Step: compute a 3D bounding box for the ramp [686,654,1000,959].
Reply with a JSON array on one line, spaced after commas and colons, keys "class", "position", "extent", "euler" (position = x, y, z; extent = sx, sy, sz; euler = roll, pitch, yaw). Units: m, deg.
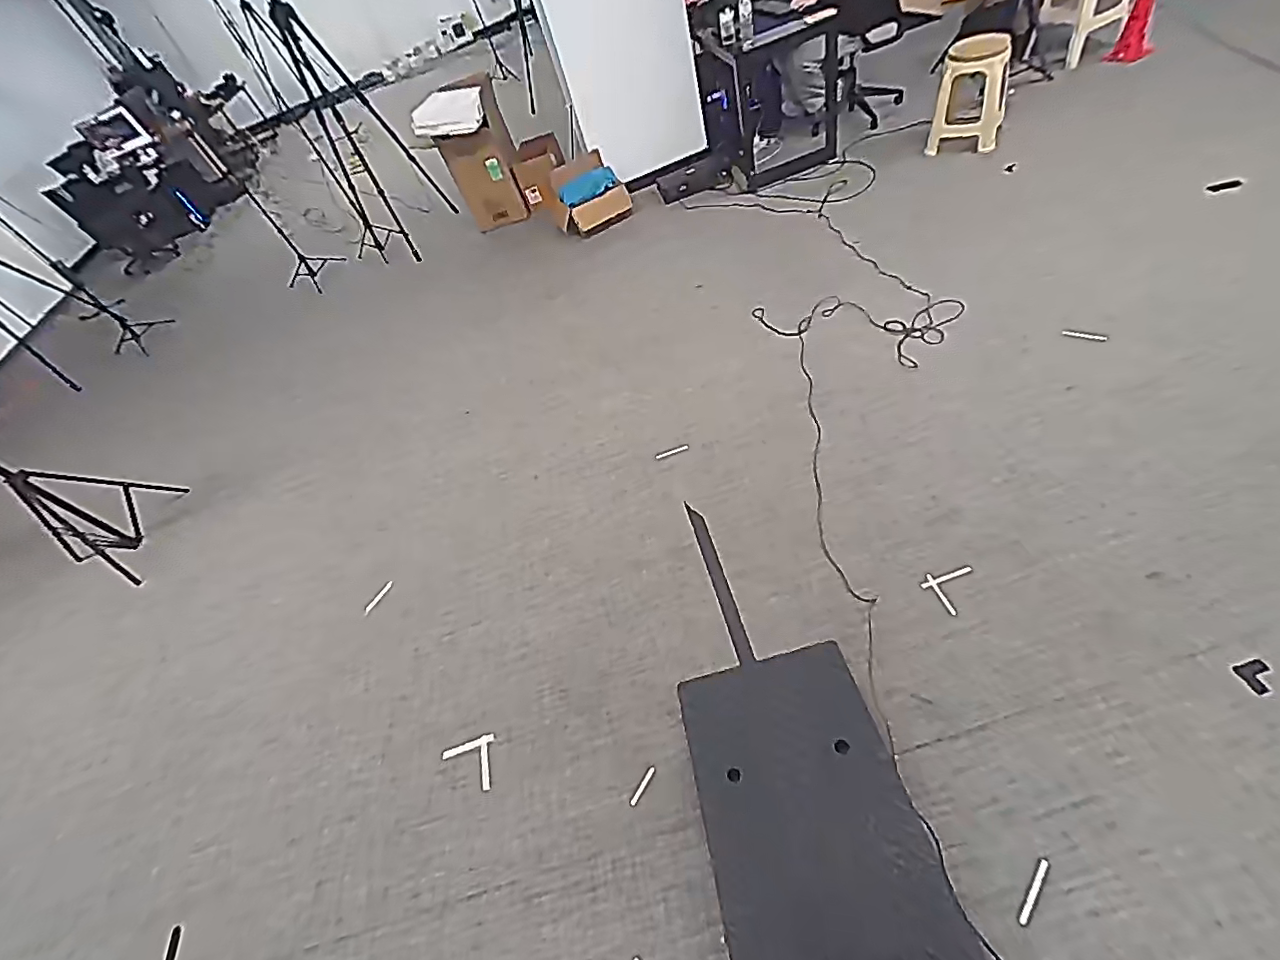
[{"class": "ramp", "position": [0.429, 0.881, 1.213], "extent": [0.509, 0.206, 0.991], "euler": [-22, 46, 4]}]
